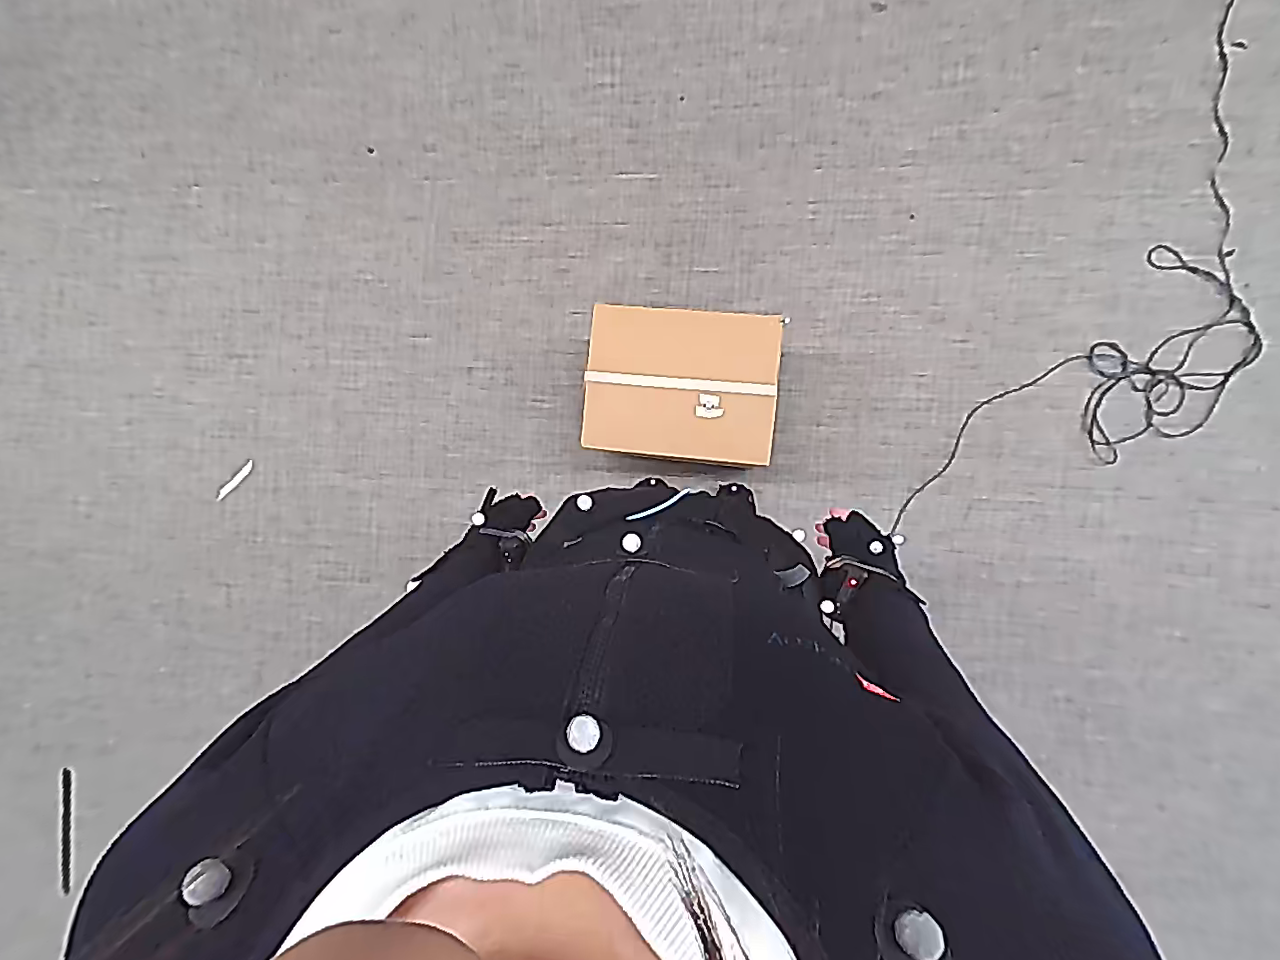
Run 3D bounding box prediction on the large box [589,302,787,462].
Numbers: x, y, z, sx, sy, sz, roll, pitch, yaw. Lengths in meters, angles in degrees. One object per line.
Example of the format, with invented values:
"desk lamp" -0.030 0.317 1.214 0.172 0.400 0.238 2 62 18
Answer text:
"large box" 0.112 -0.214 1.294 0.408 0.320 0.320 6 92 6
